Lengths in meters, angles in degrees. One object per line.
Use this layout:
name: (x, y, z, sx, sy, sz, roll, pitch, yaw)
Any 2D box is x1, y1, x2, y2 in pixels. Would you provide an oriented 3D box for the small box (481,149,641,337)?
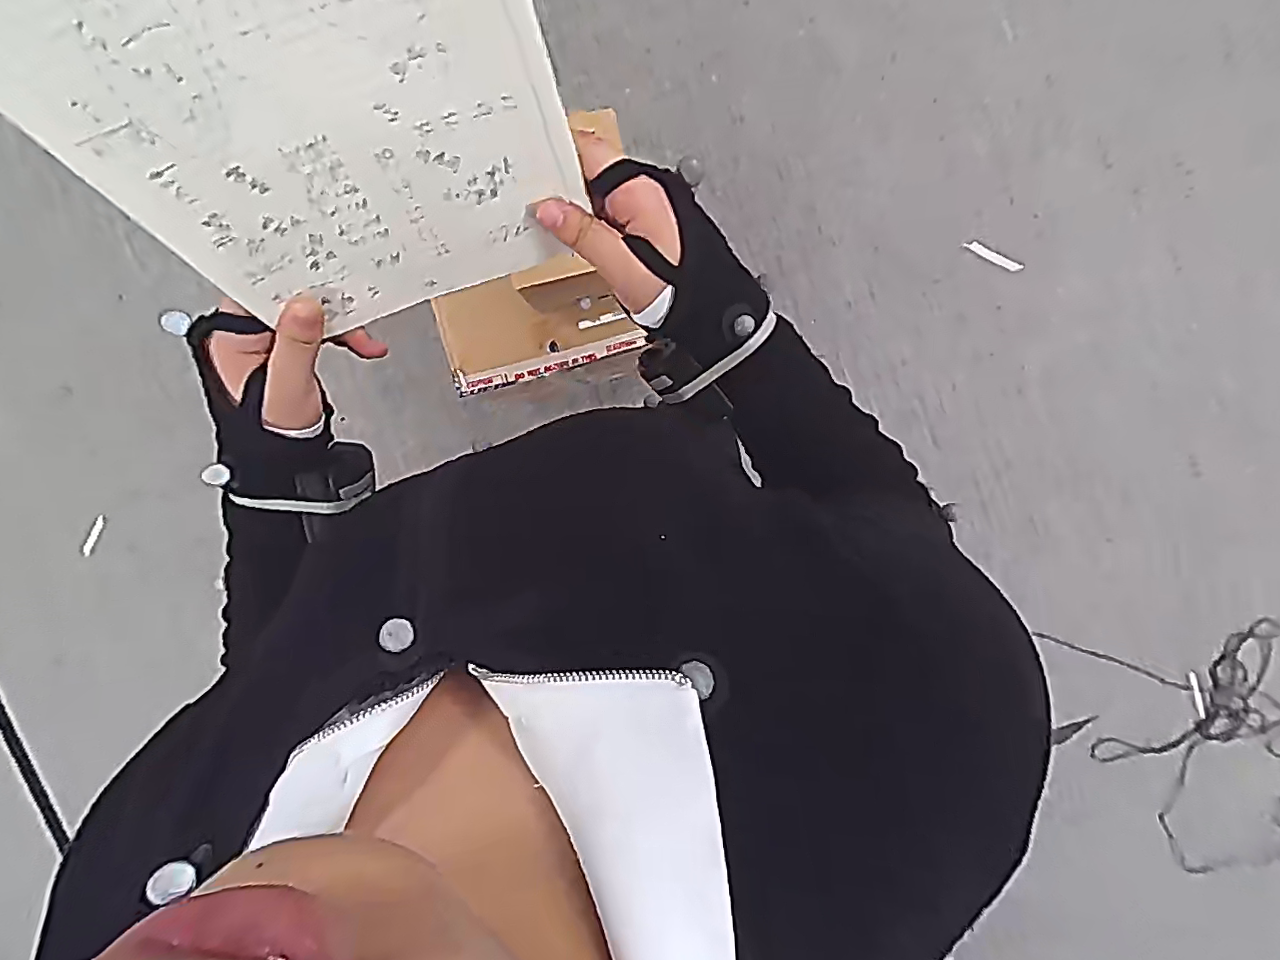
small box: (-0.097, -0.307, 0.735, 0.168, 0.176, 0.179, -12, 98, 1)

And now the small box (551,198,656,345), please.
small box: (-0.080, -0.334, 0.898, 0.179, 0.176, 0.168, -16, 97, 2)
